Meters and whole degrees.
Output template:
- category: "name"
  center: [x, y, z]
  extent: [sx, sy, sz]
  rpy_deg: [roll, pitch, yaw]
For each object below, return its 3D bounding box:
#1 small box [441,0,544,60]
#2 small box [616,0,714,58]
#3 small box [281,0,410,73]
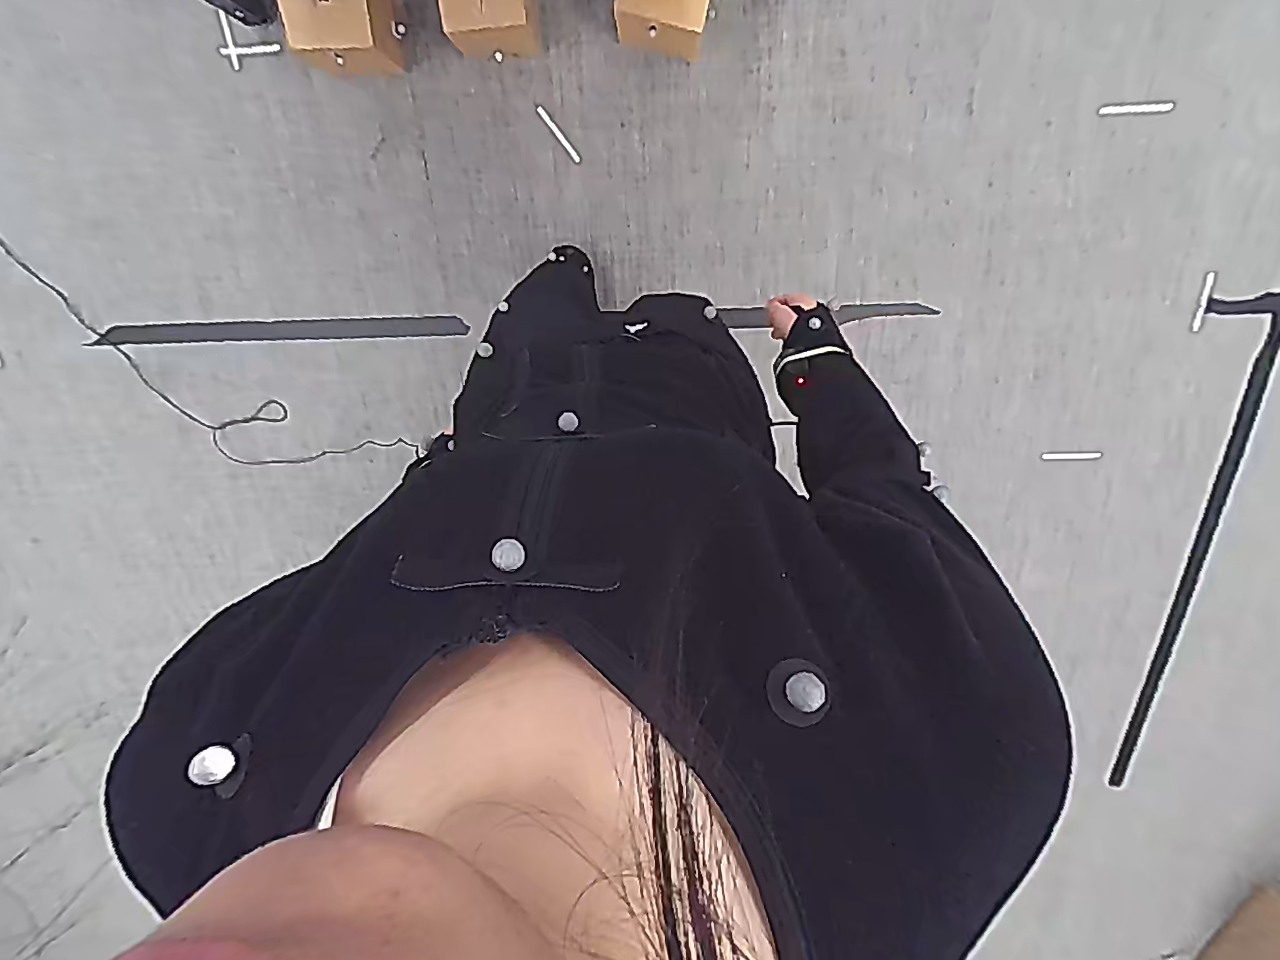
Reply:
- category: "small box"
  center: [-0.294, -0.977, 1.077]
  extent: [0.168, 0.176, 0.179]
  rpy_deg: [-2, 112, 3]
- category: "small box"
  center: [0.062, -0.972, 1.067]
  extent: [0.179, 0.176, 0.168]
  rpy_deg: [15, 112, -2]
- category: "small box"
  center: [-0.598, -0.953, 1.100]
  extent: [0.179, 0.176, 0.168]
  rpy_deg: [0, 112, 1]
